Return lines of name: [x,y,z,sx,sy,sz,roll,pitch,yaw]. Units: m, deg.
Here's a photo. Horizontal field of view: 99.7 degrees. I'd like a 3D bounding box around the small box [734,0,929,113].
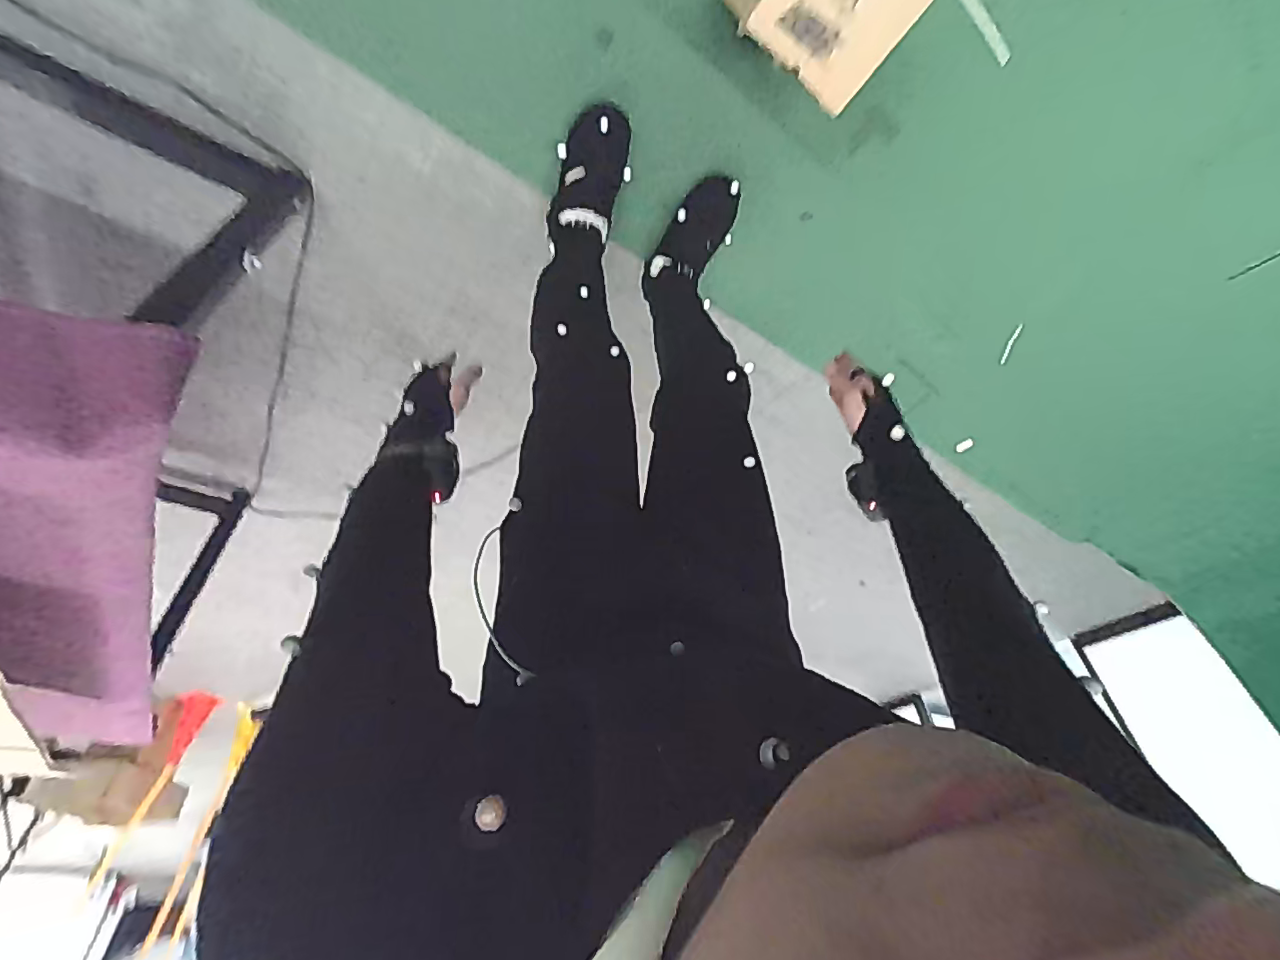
small box: [0.233,-0.615,0.671,0.168,0.176,0.179,24,132,-28]
